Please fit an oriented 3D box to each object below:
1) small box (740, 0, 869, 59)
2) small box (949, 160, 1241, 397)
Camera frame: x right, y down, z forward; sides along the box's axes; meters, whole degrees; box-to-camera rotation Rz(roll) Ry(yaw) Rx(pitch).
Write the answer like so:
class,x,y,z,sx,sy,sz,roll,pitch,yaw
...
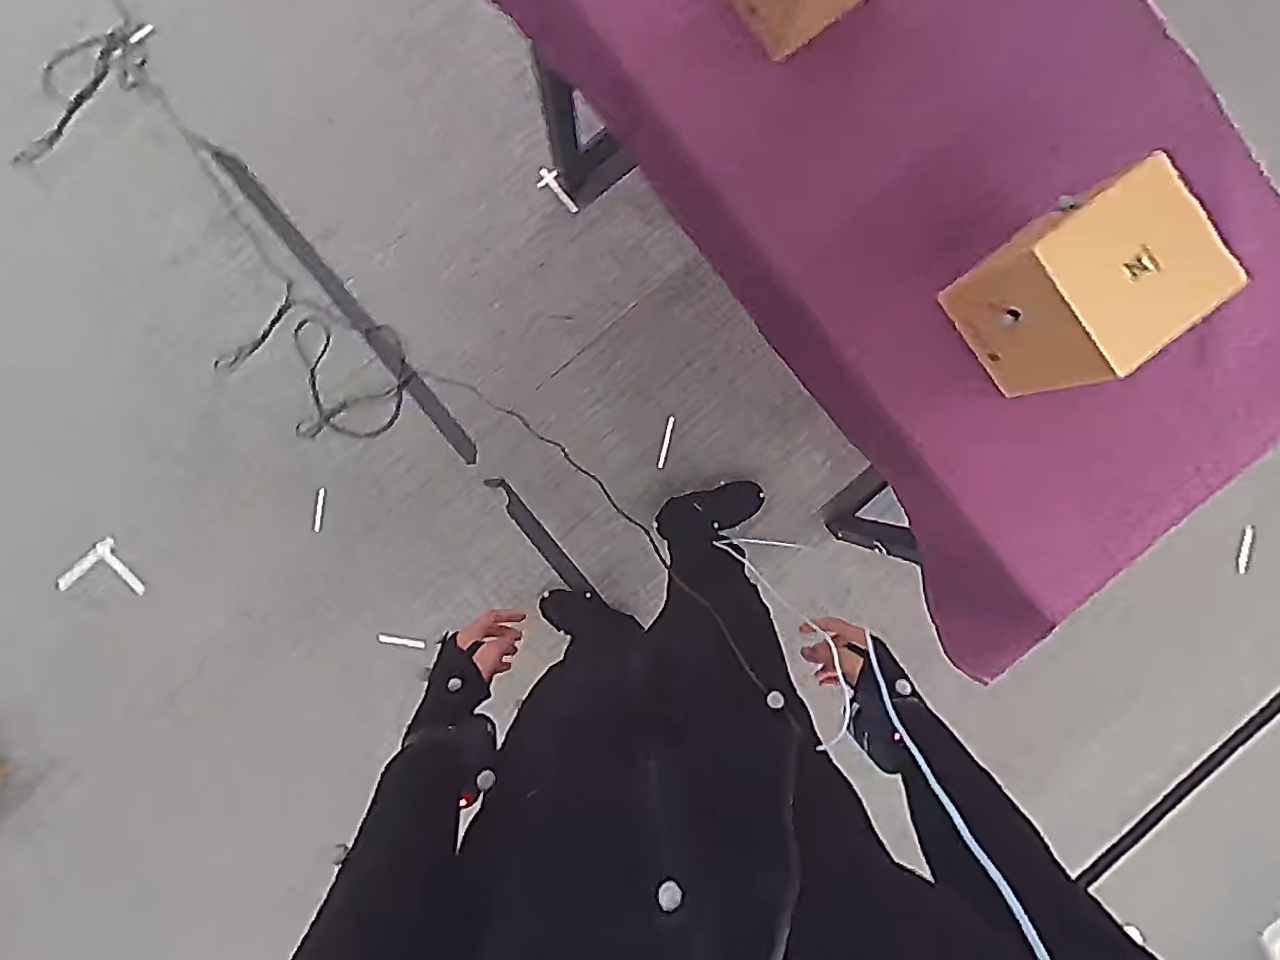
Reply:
class,x,y,z,sx,sy,sz,roll,pitch,yaw
small box,0.200,-0.636,0.604,0.179,0.176,0.168,-36,94,-2
small box,0.506,-0.216,0.636,0.179,0.176,0.168,-37,93,-3
